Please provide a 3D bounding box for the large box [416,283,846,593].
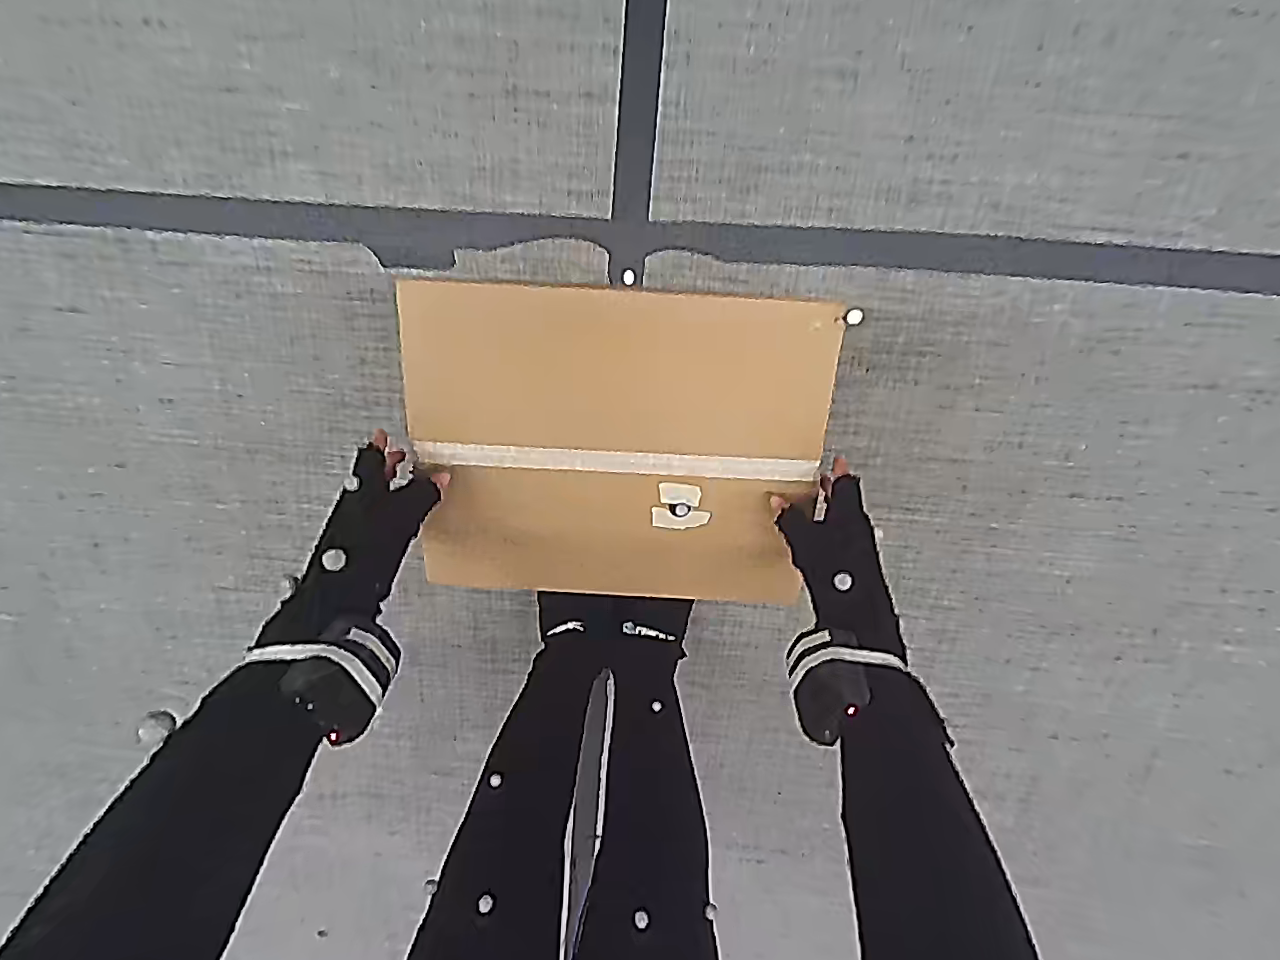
[{"bbox_3d":[-0.014,-0.075,0.684,0.408,0.320,0.320,3,110,0],"label":"large box"}]
